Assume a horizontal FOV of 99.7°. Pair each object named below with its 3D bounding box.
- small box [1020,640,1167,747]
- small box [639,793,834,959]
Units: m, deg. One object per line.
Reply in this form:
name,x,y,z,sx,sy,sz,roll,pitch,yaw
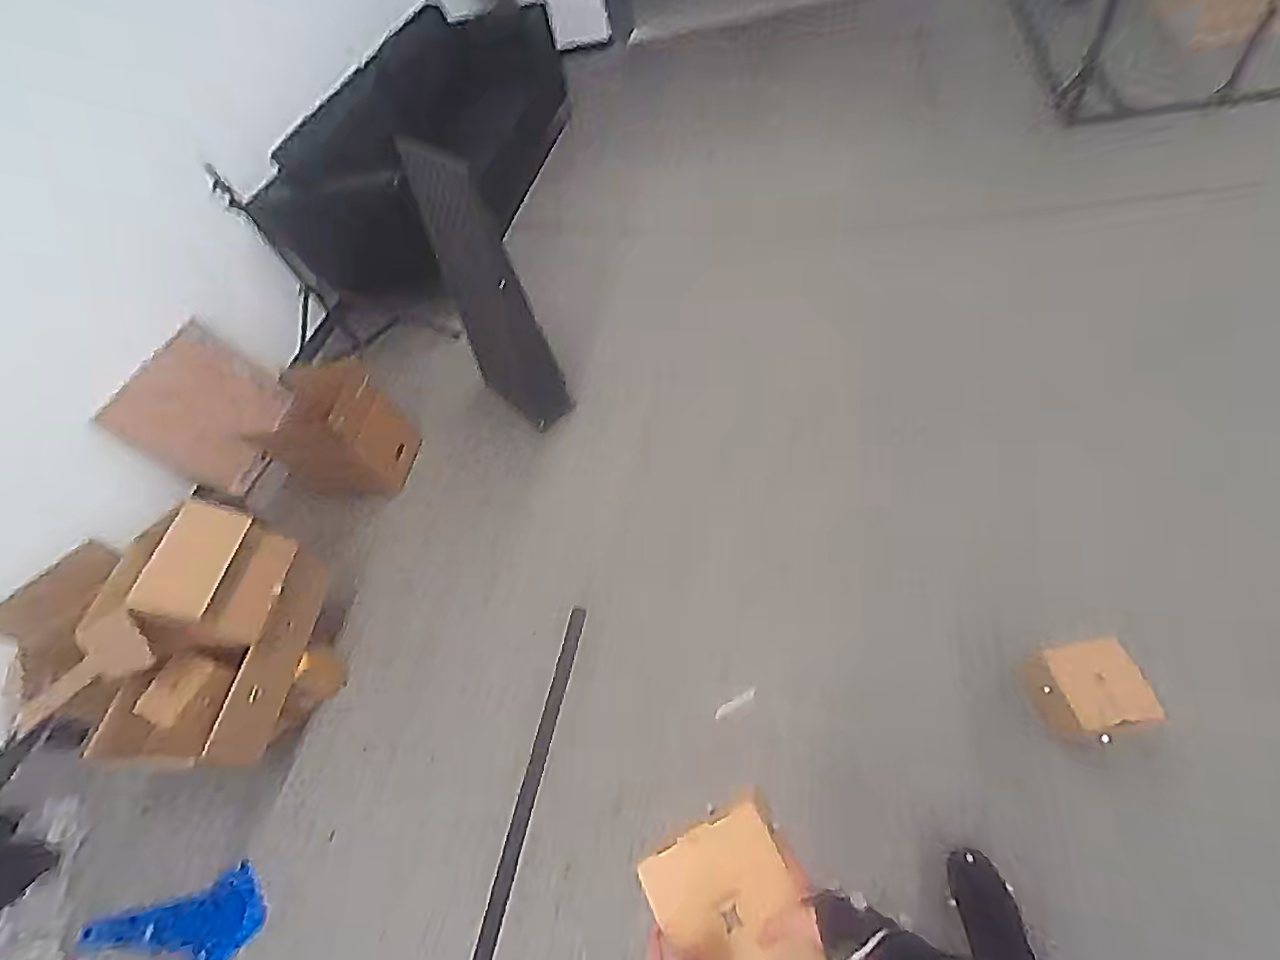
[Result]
small box,1.021,0.493,1.240,0.168,0.176,0.179,-14,52,6
small box,0.124,0.525,0.677,0.168,0.176,0.179,-30,62,0
